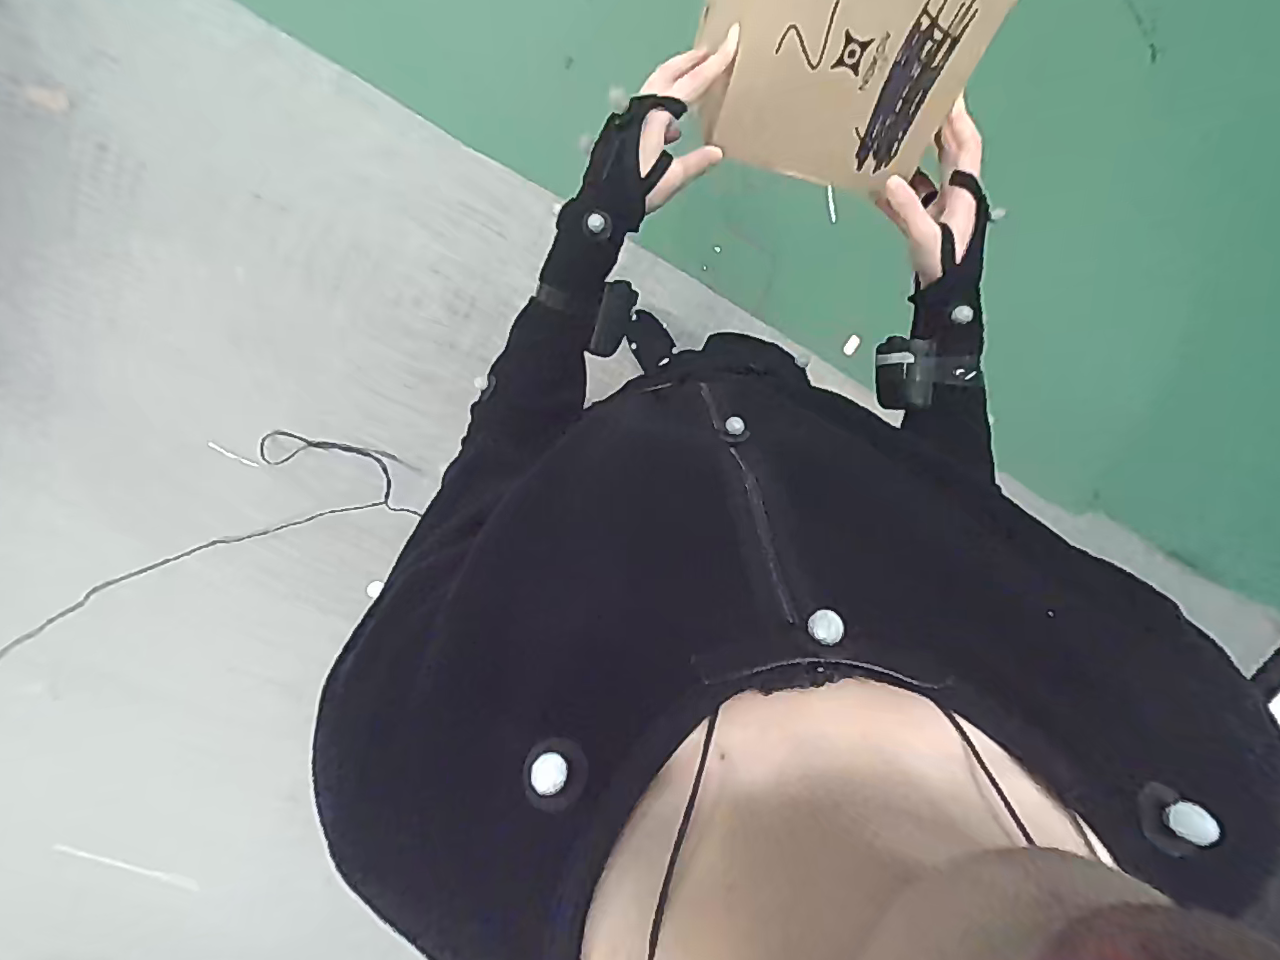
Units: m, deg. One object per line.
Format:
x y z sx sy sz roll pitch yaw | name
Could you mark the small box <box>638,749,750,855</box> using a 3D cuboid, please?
0.109 0.731 1.185 0.179 0.176 0.168 35 101 -9 | small box
